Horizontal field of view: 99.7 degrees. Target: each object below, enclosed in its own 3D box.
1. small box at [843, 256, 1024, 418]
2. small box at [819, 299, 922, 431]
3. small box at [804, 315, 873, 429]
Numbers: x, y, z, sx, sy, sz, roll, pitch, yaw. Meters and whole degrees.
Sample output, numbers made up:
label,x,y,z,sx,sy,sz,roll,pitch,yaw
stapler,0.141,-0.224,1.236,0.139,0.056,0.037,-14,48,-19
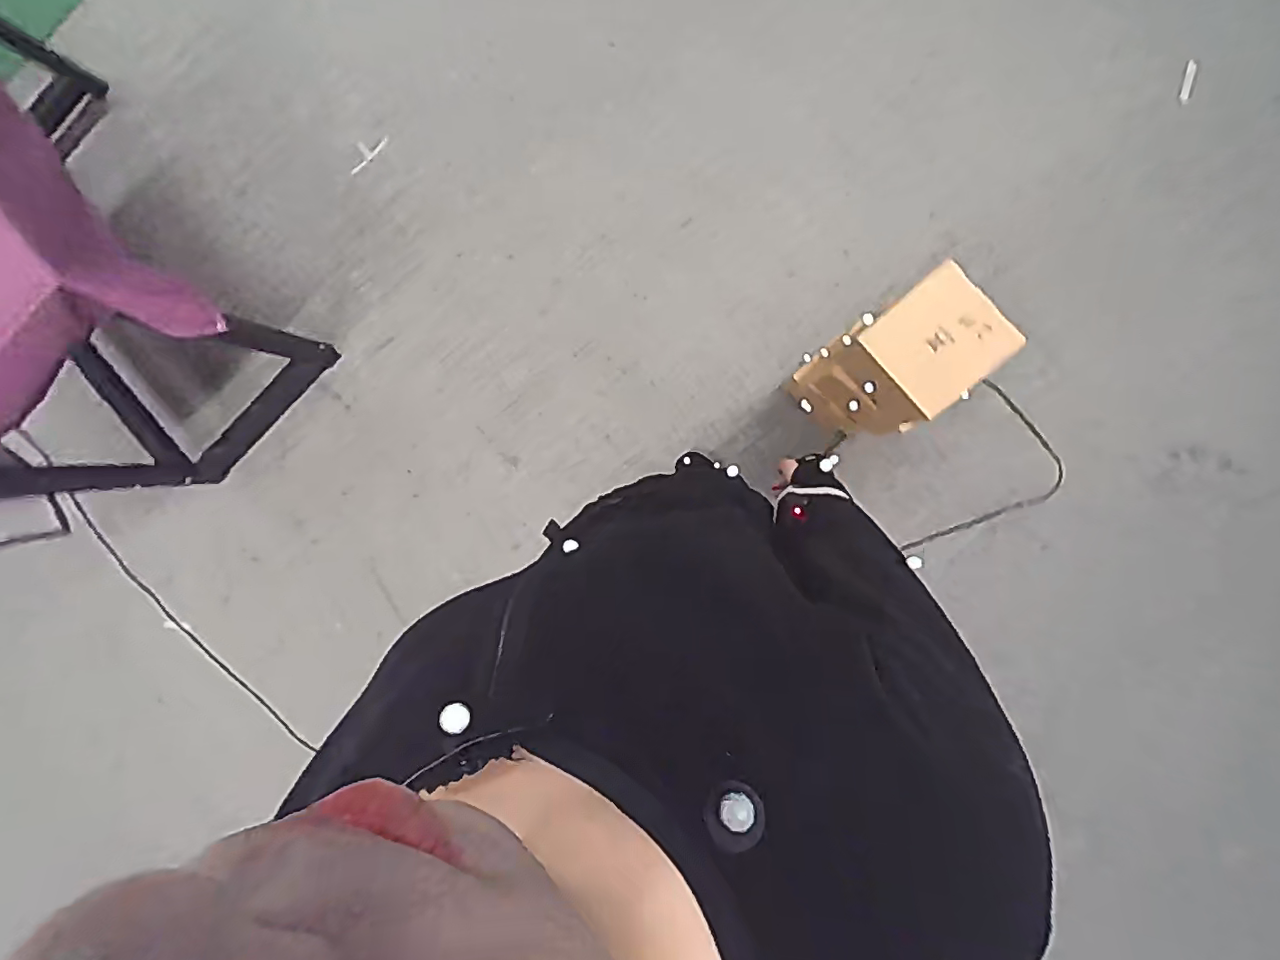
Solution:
label,x,y,z,sx,sy,sz,roll,pitch,yaw
small box,0.453,-0.215,0.873,0.179,0.176,0.168,-40,87,8
small box,0.474,-0.210,1.037,0.179,0.176,0.168,41,97,5
small box,0.485,-0.227,1.199,0.168,0.176,0.179,38,96,4
